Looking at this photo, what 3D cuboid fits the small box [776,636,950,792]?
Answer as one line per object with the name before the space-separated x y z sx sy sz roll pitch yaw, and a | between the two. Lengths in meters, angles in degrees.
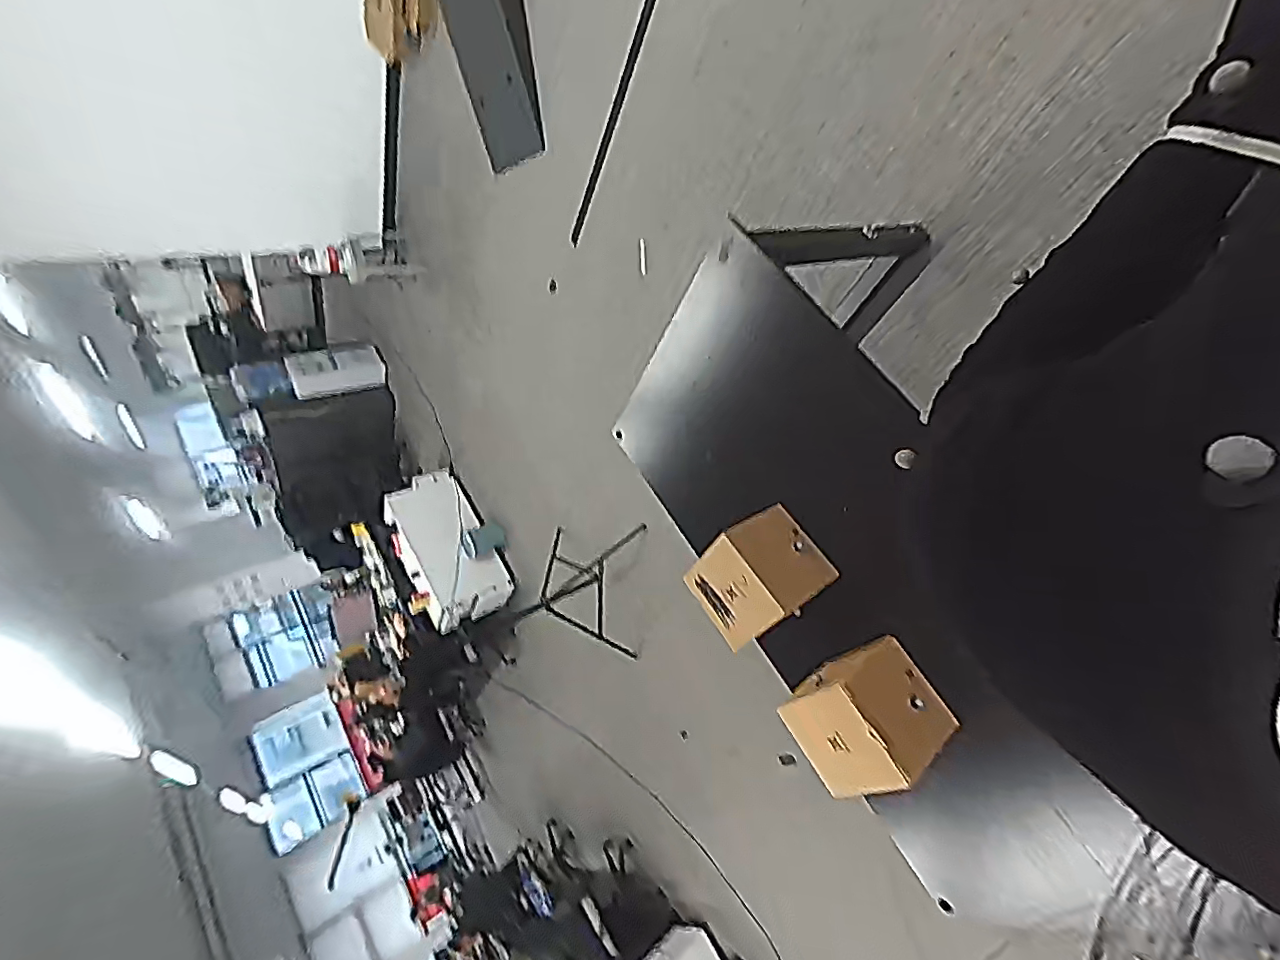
small box | 0.374 0.392 0.913 0.168 0.176 0.179 56 142 17
